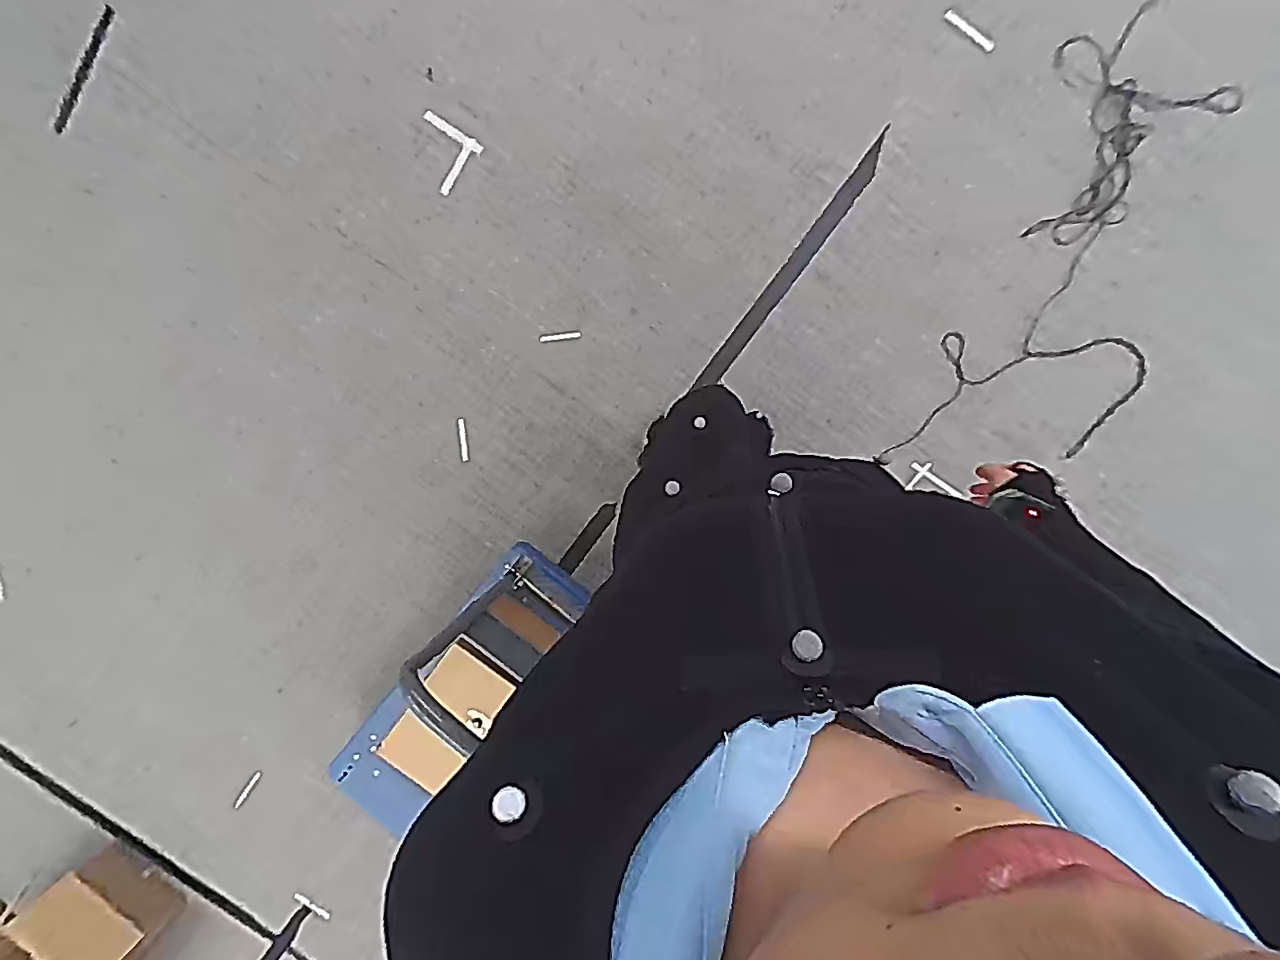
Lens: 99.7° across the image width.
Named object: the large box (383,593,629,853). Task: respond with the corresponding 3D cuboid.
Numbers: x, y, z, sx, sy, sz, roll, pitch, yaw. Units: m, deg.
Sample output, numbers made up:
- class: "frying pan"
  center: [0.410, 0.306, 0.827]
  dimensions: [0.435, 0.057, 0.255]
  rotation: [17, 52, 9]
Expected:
- class: "large box"
  center: [-0.284, 0.539, 1.264]
  dimensions: [0.408, 0.320, 0.320]
  rotation: [36, 97, 0]
